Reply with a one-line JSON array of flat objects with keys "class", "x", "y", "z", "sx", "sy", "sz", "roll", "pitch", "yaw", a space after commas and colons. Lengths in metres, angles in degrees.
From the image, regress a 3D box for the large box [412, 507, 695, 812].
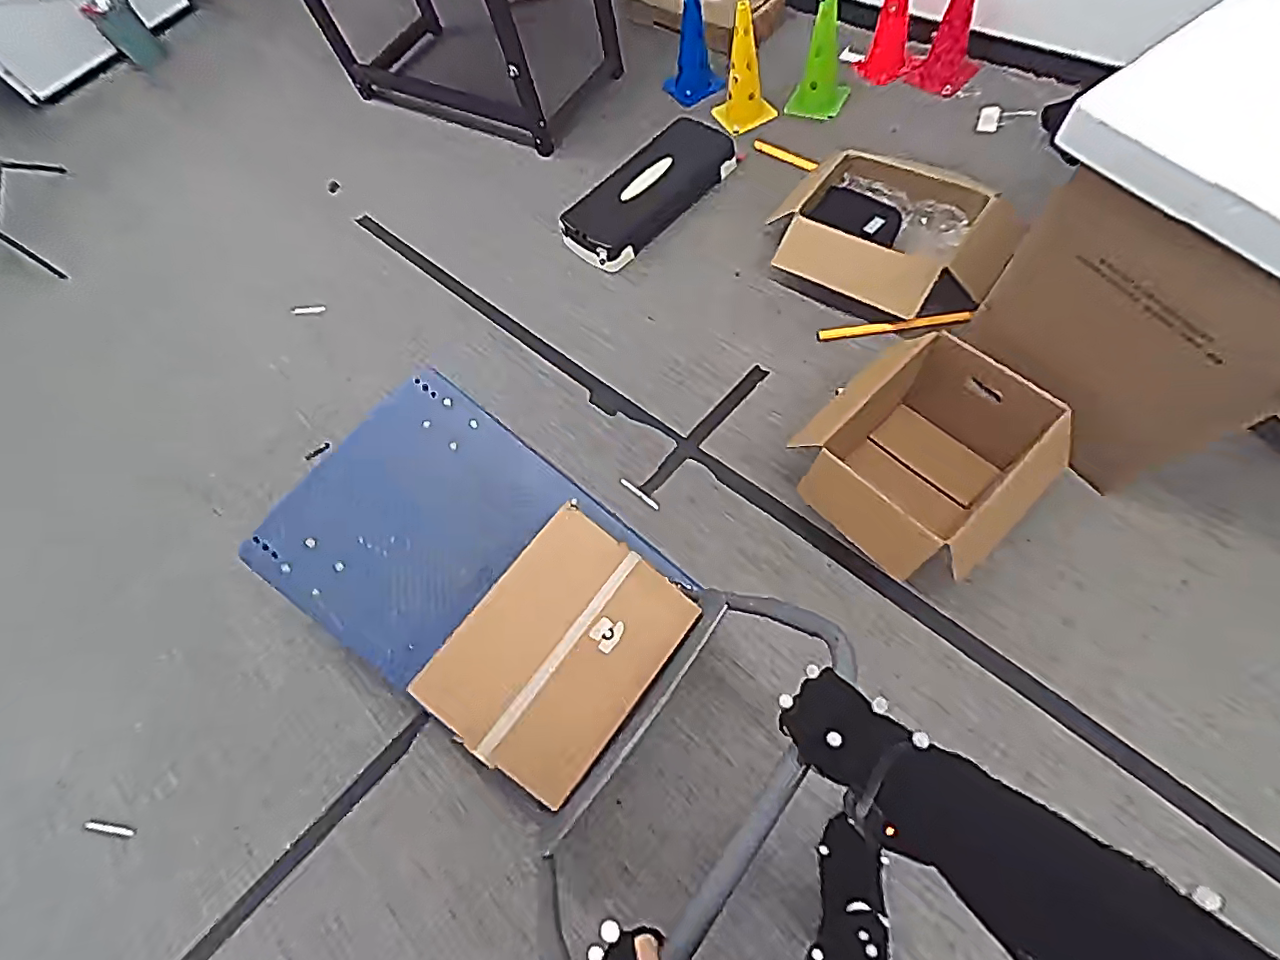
[{"class": "large box", "x": -0.156, "y": 0.323, "z": 1.055, "sx": 0.320, "sy": 0.320, "sz": 0.408, "roll": 38, "pitch": 75, "yaw": 1}]
